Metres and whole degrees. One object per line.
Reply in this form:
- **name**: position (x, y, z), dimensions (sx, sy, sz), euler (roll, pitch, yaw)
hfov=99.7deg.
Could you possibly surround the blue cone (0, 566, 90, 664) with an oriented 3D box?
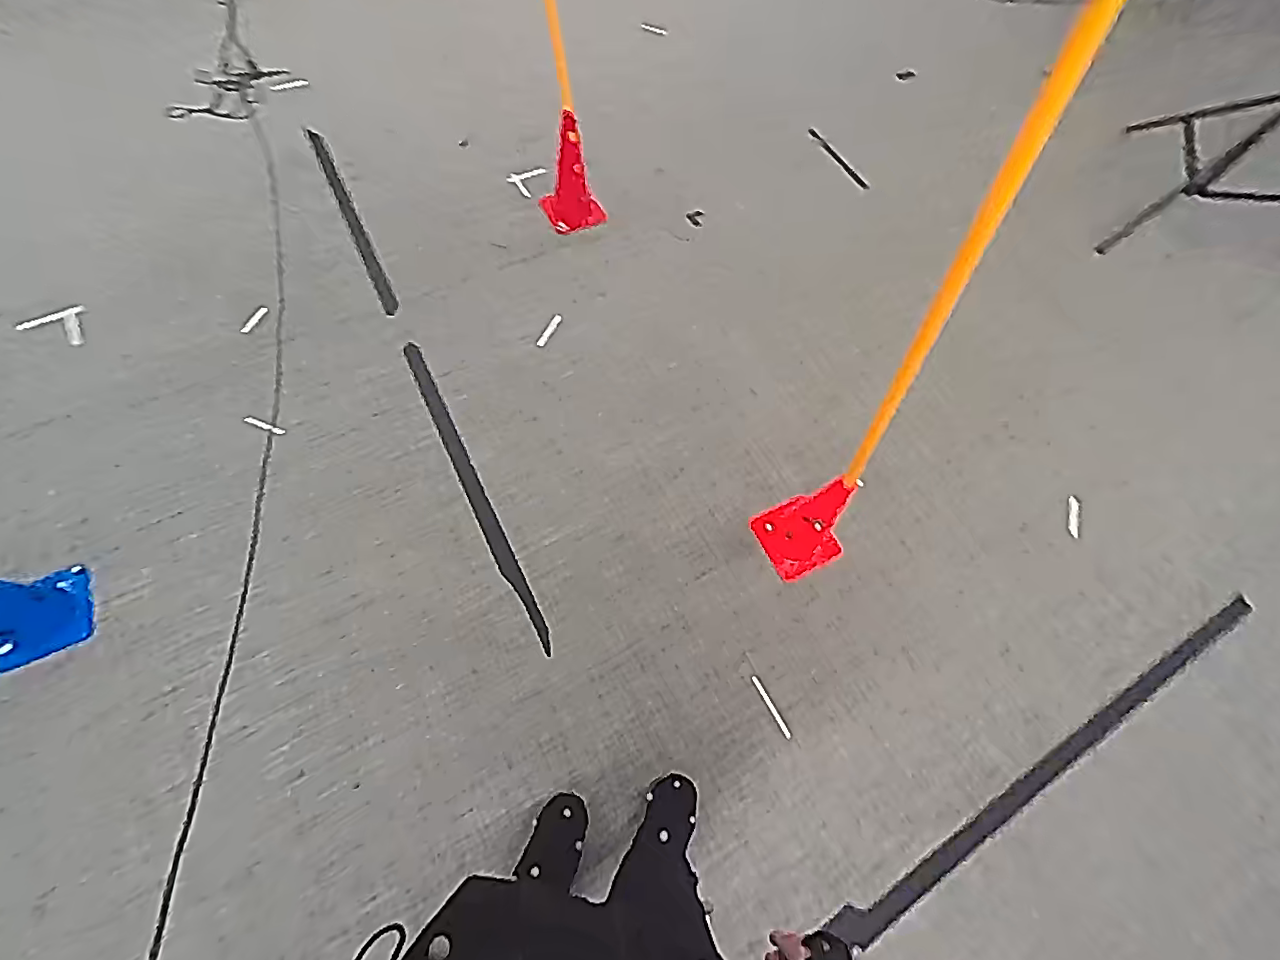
- **blue cone**: position (-1.390, 0.245, 1.122), dimensions (0.193, 0.380, 0.192), euler (-22, 67, -14)

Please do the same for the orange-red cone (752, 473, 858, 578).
- **orange-red cone**: position (0.439, 0.075, 1.313), dimensions (0.198, 0.360, 0.199), euler (-22, 69, -14)
